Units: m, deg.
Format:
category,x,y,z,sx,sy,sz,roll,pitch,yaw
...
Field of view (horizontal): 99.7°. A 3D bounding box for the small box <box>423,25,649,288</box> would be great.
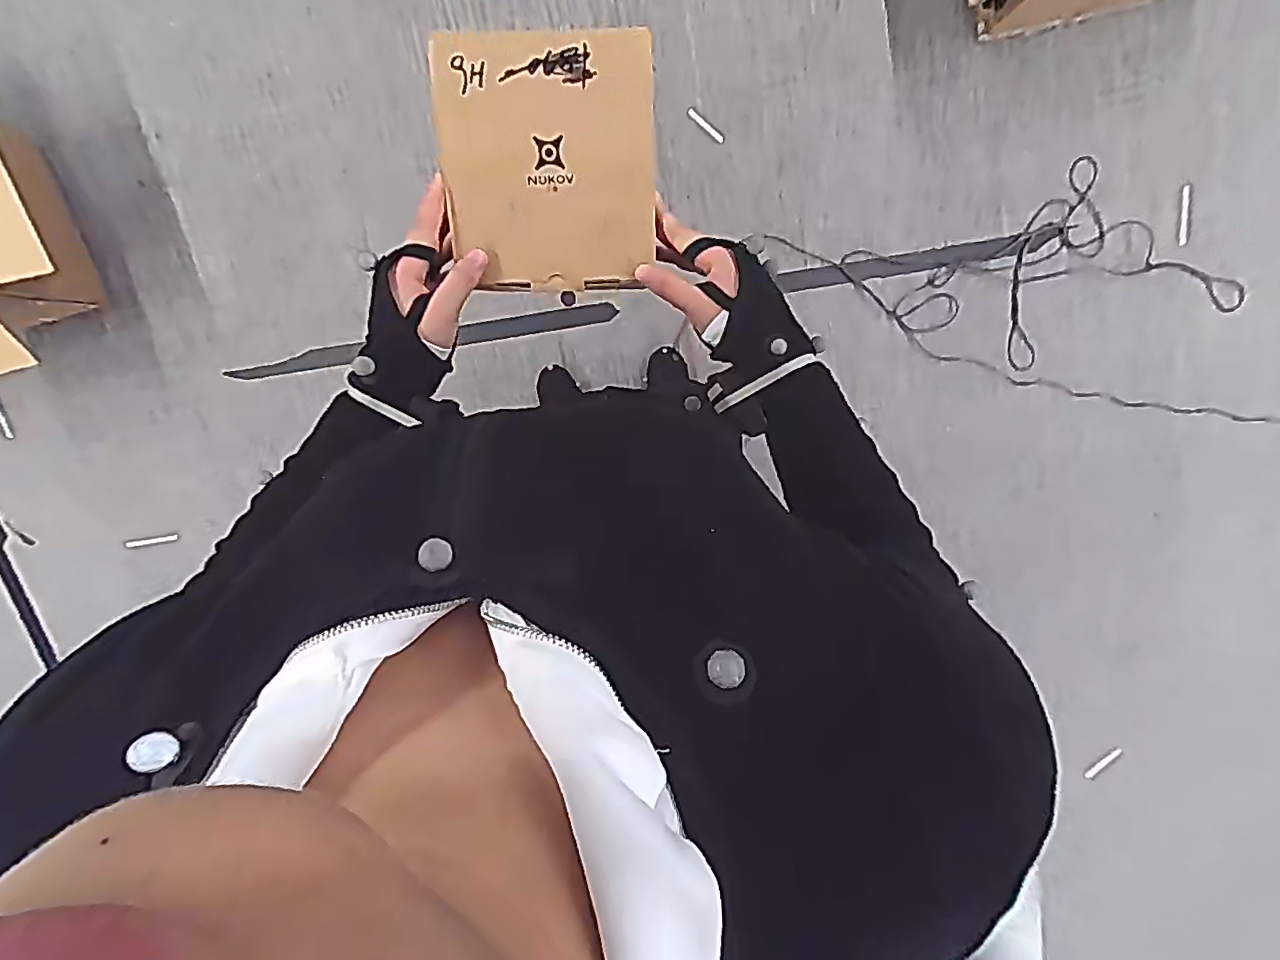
category,x,y,z,sx,sy,sz,roll,pitch,yaw
small box,-0.075,-0.271,0.493,0.168,0.176,0.179,-2,109,-1
